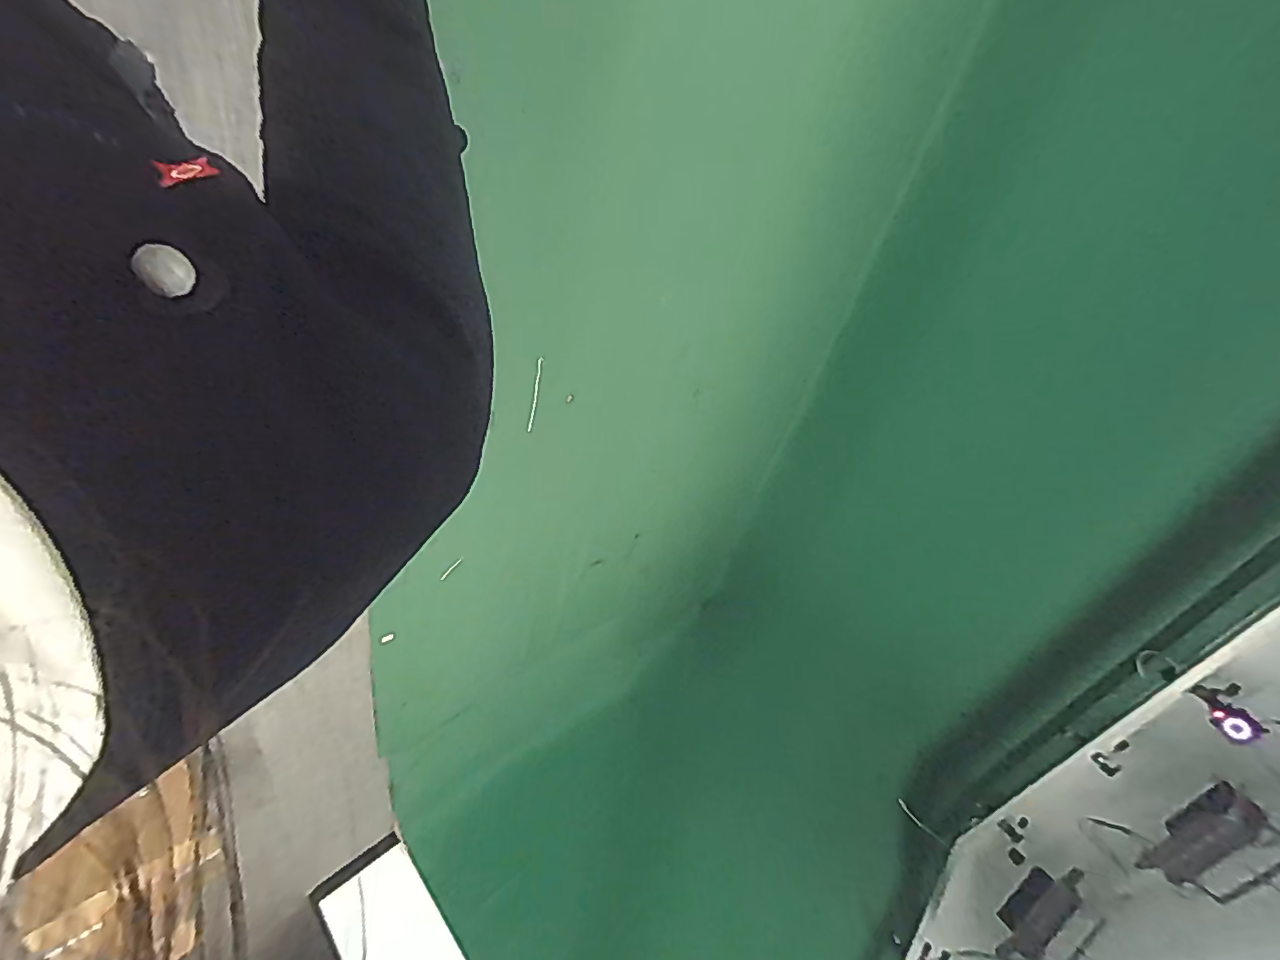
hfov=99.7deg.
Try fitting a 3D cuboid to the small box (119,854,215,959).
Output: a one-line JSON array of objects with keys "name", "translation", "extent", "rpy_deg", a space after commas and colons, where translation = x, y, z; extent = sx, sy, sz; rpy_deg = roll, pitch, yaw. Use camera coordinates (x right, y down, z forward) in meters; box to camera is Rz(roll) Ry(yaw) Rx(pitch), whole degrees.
[{"name": "small box", "translation": [-1.430, 1.290, 1.631], "extent": [0.179, 0.176, 0.168], "rpy_deg": [-23, 135, -39]}]
